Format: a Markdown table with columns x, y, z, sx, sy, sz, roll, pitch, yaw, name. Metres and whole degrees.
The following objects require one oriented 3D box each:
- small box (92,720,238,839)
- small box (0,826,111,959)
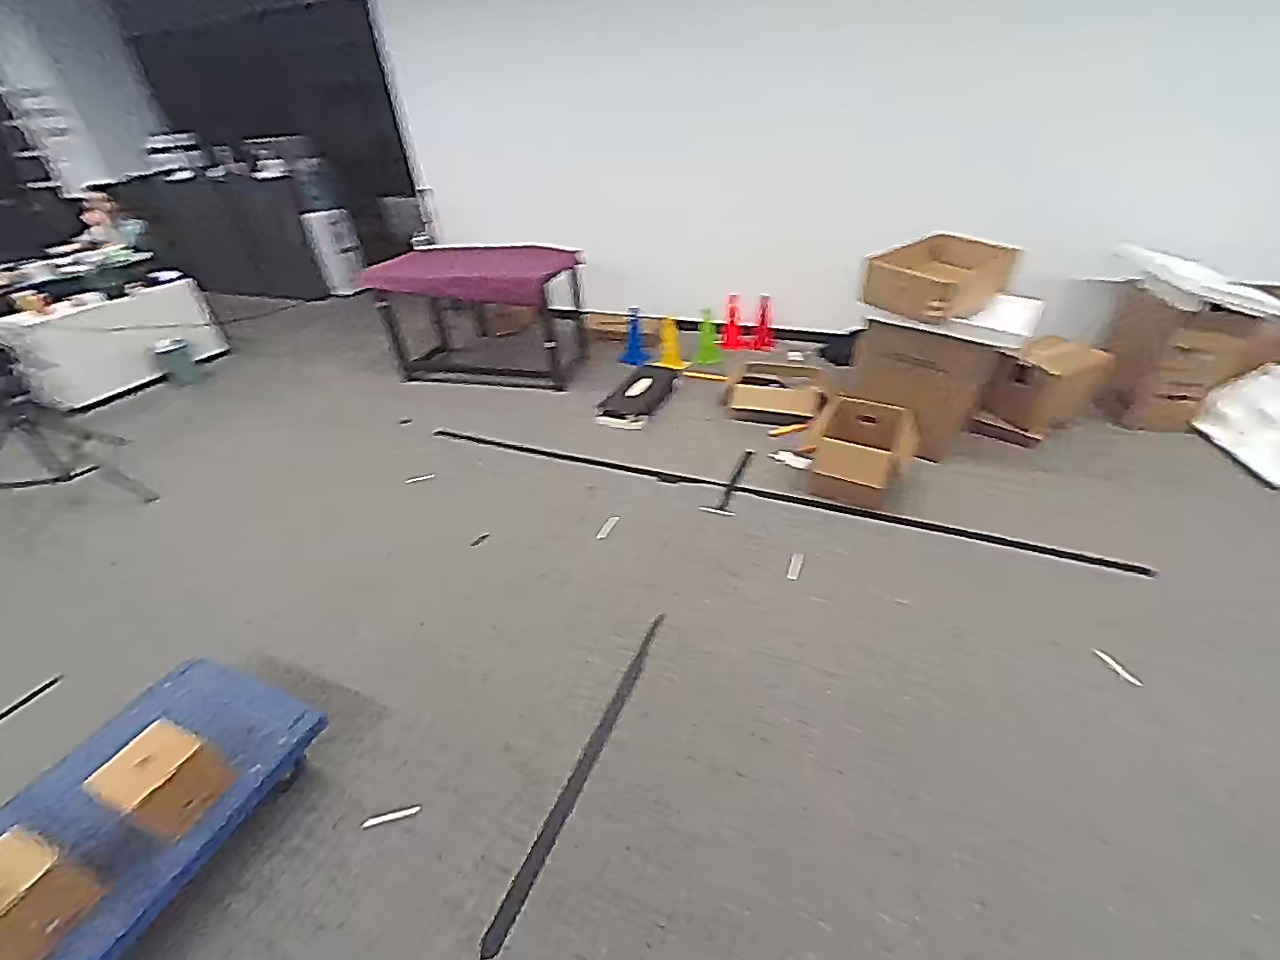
| x | y | z | sx | sy | sz | roll | pitch | yaw | name |
| --- | --- | --- | --- | --- | --- | --- | --- | --- | --- |
| -1.128 | 0.719 | 1.297 | 0.179 | 0.176 | 0.168 | 11 | 38 | 20 | small box |
| -1.268 | 0.860 | 1.109 | 0.179 | 0.176 | 0.168 | 11 | 38 | 19 | small box |
